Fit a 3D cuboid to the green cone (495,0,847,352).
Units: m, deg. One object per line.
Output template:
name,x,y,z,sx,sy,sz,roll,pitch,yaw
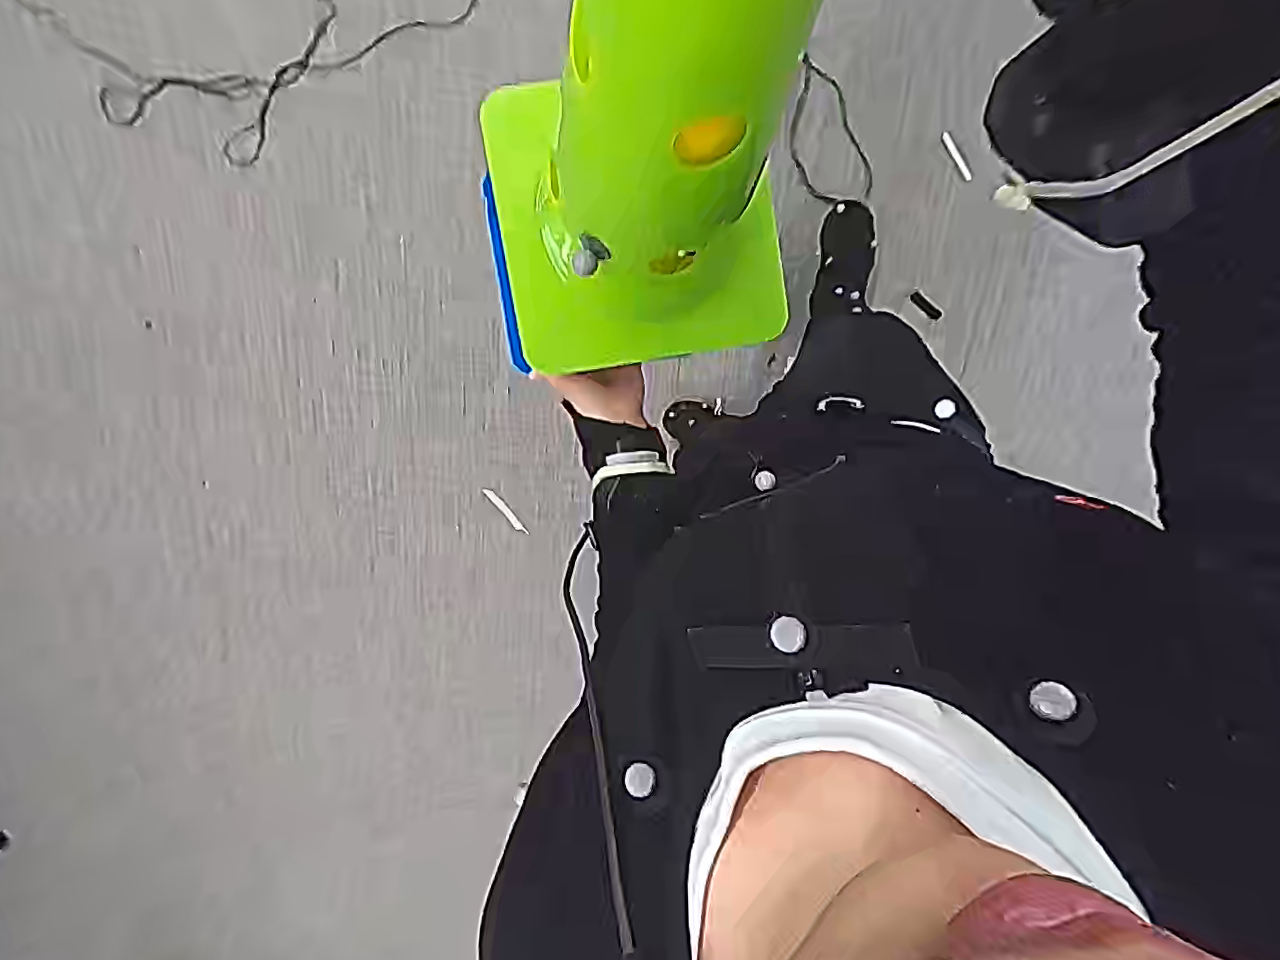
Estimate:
green cone,0.029,-0.183,0.203,0.200,0.368,0.202,-10,96,-5
